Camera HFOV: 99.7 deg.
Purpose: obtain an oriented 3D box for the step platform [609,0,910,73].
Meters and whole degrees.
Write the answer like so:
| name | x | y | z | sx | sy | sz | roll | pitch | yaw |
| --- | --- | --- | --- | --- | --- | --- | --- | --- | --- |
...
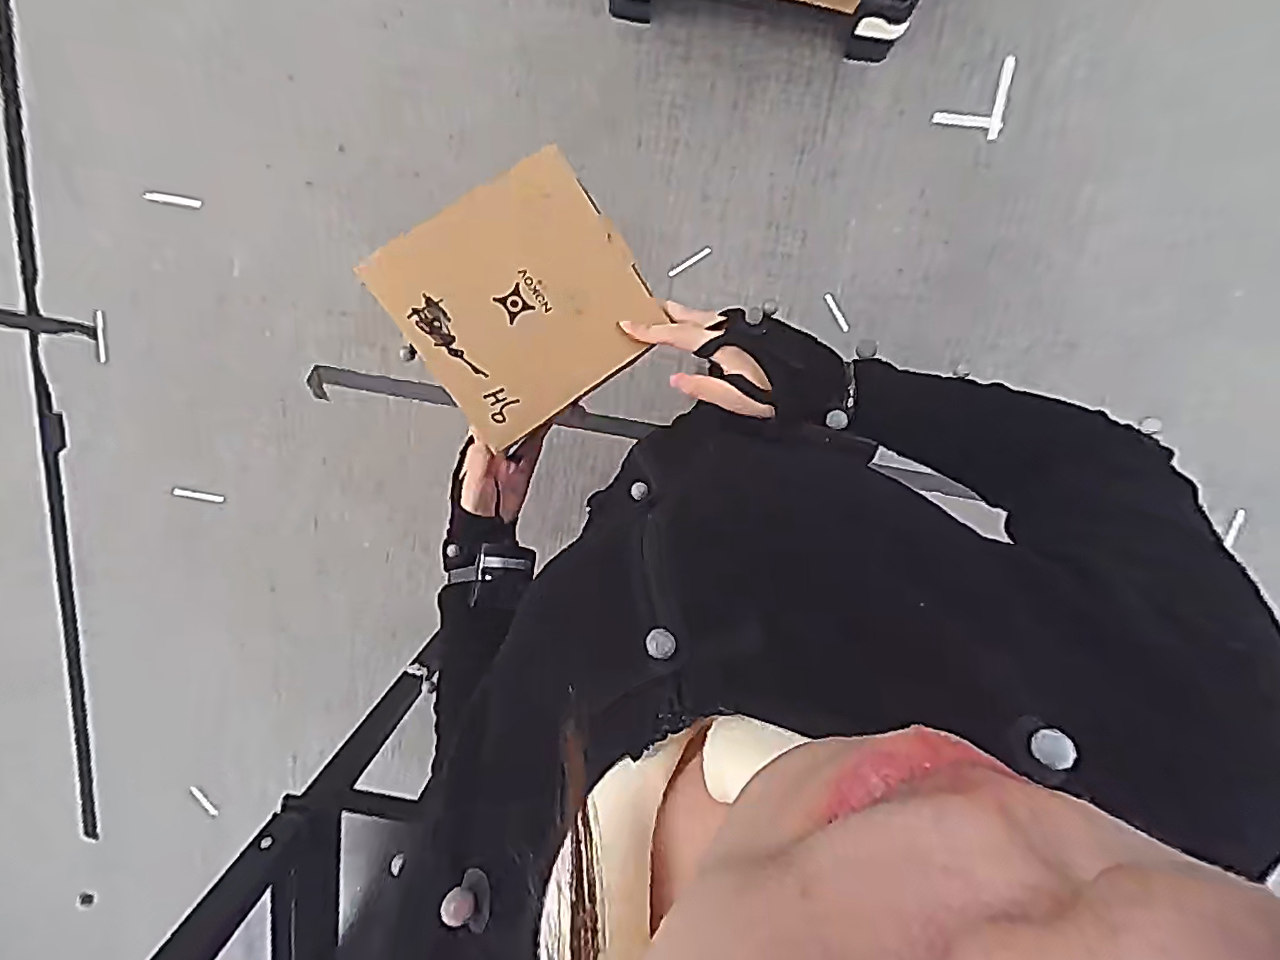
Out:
| name | x | y | z | sx | sy | sz | roll | pitch | yaw |
| --- | --- | --- | --- | --- | --- | --- | --- | --- | --- |
| step platform | 0.249 | -1.134 | 1.131 | 0.684 | 0.204 | 0.286 | 16 | 103 | 1 |

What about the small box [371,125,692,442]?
| name | x | y | z | sx | sy | sz | roll | pitch | yaw |
| --- | --- | --- | --- | --- | --- | --- | --- | --- | --- |
| small box | -0.089 | -0.147 | 0.467 | 0.179 | 0.176 | 0.168 | -36 | 99 | -9 |
